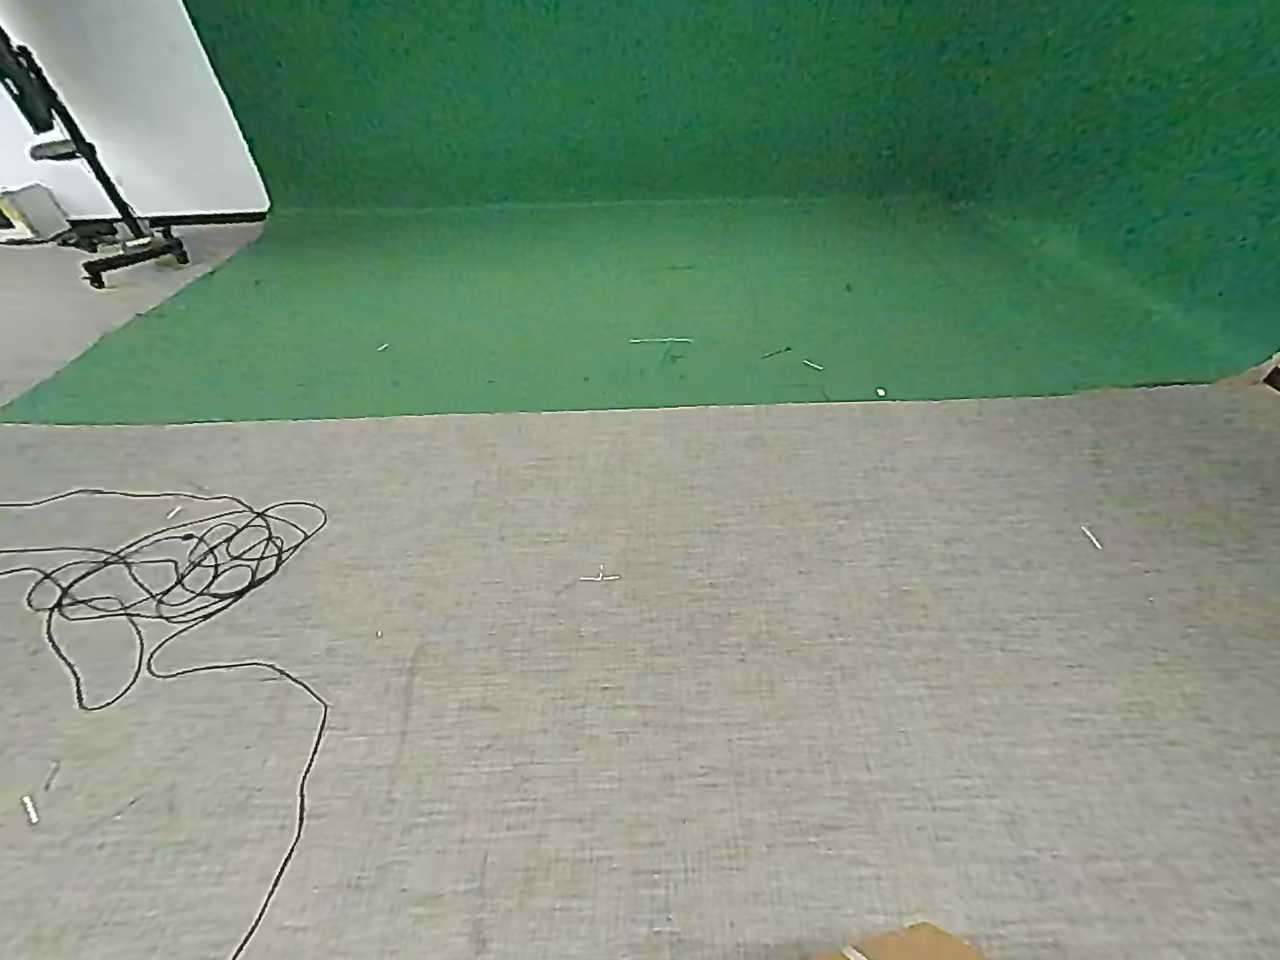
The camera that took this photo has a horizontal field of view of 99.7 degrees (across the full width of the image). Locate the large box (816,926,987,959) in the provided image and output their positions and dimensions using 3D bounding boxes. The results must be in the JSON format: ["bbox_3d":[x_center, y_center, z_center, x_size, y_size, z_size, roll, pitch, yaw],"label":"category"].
[{"bbox_3d":[0.390,0.814,0.622,0.320,0.408,0.320,-7,70,-13],"label":"large box"}]
